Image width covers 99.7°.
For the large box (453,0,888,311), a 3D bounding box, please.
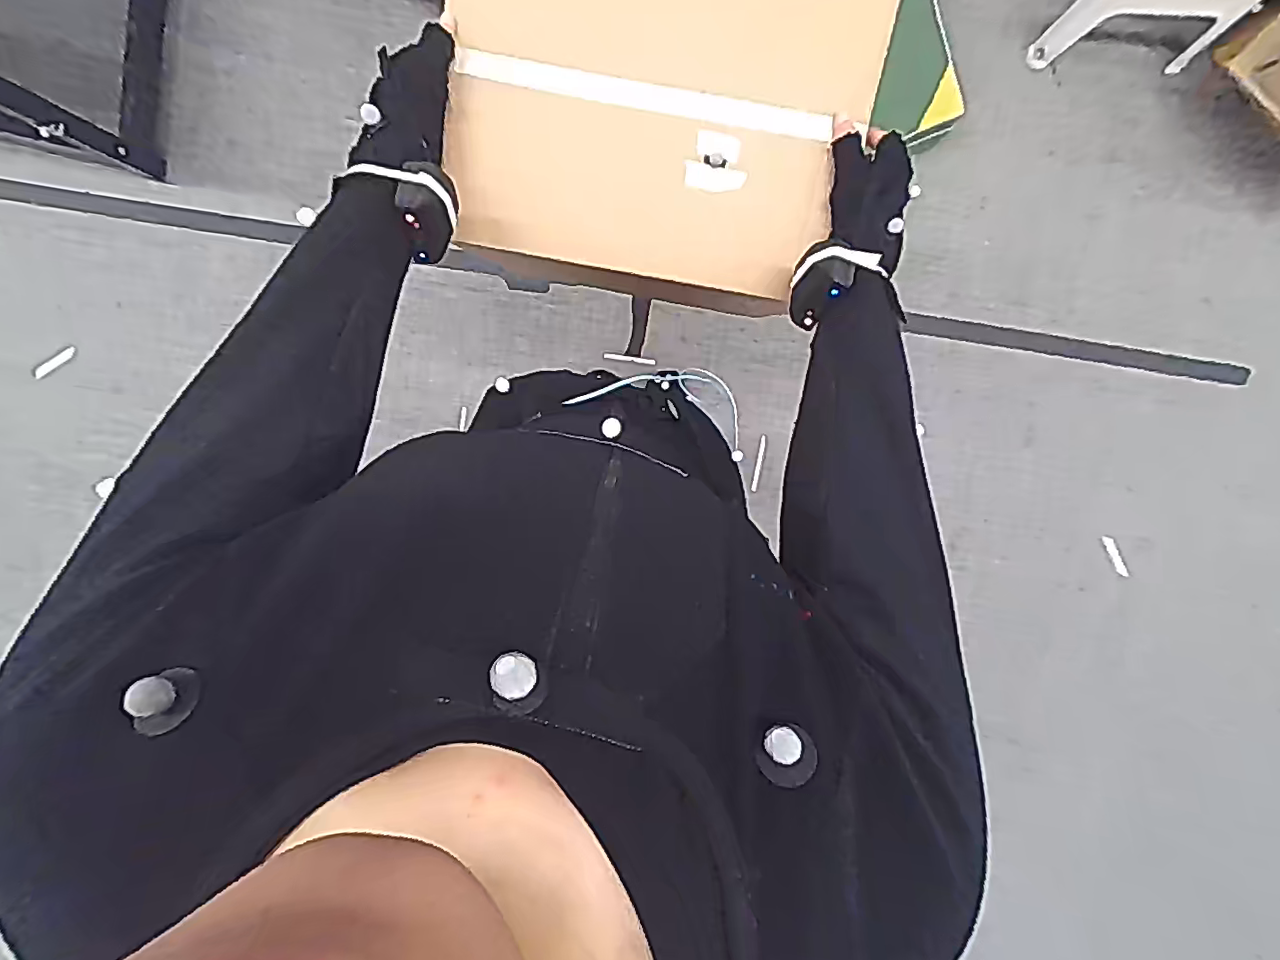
[{"bbox_3d":[0.019,-0.406,0.678,0.408,0.320,0.320,9,105,-3],"label":"large box"}]
